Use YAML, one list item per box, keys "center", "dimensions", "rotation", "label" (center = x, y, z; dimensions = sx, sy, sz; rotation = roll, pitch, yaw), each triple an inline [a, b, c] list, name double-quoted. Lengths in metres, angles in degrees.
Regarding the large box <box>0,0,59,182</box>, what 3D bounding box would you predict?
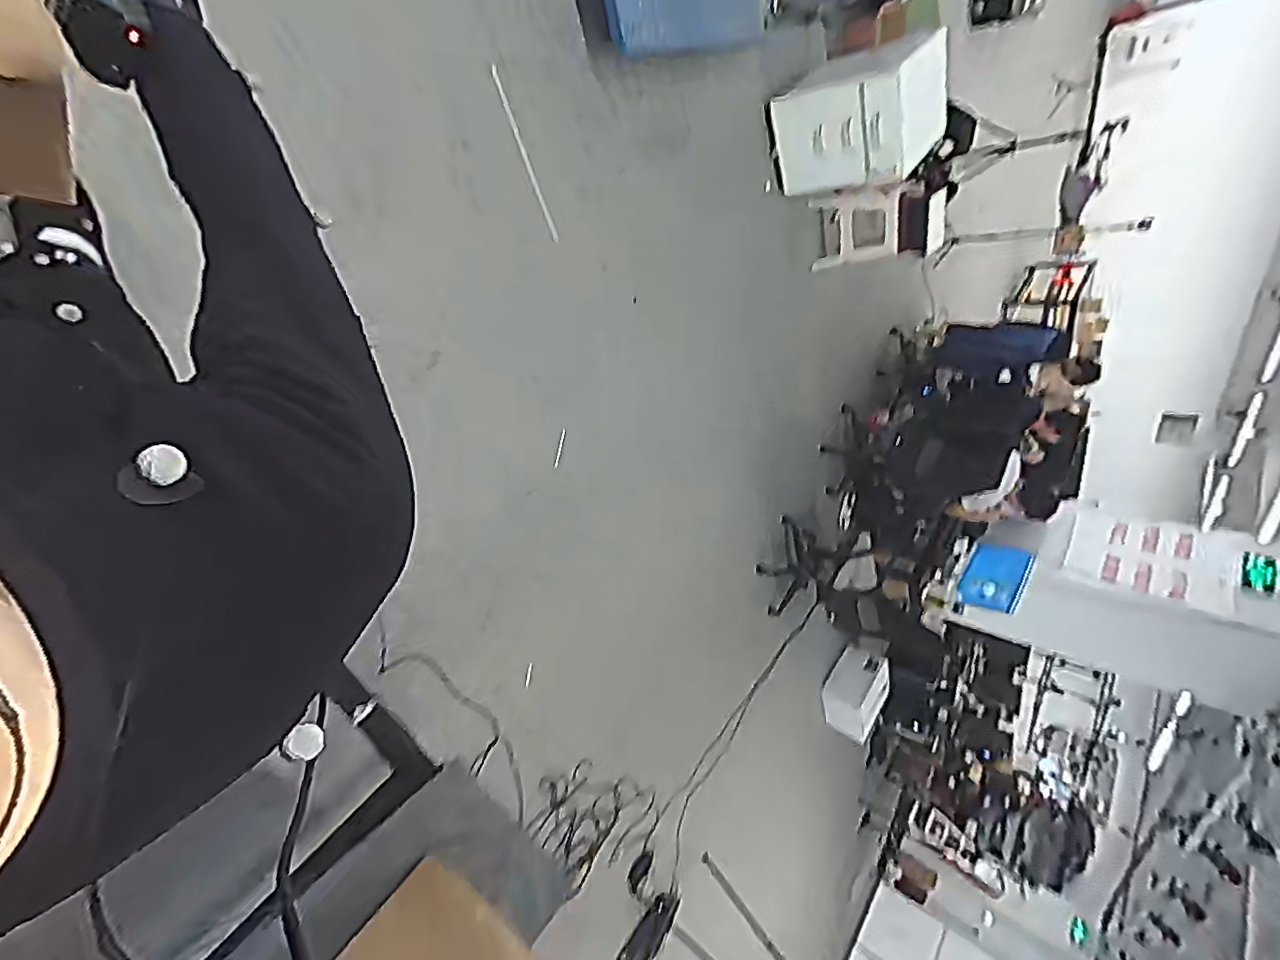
- center: [-0.715, -0.446, 0.359]
  dimensions: [0.408, 0.320, 0.320]
  rotation: [-14, 104, -46]
  label: "large box"
